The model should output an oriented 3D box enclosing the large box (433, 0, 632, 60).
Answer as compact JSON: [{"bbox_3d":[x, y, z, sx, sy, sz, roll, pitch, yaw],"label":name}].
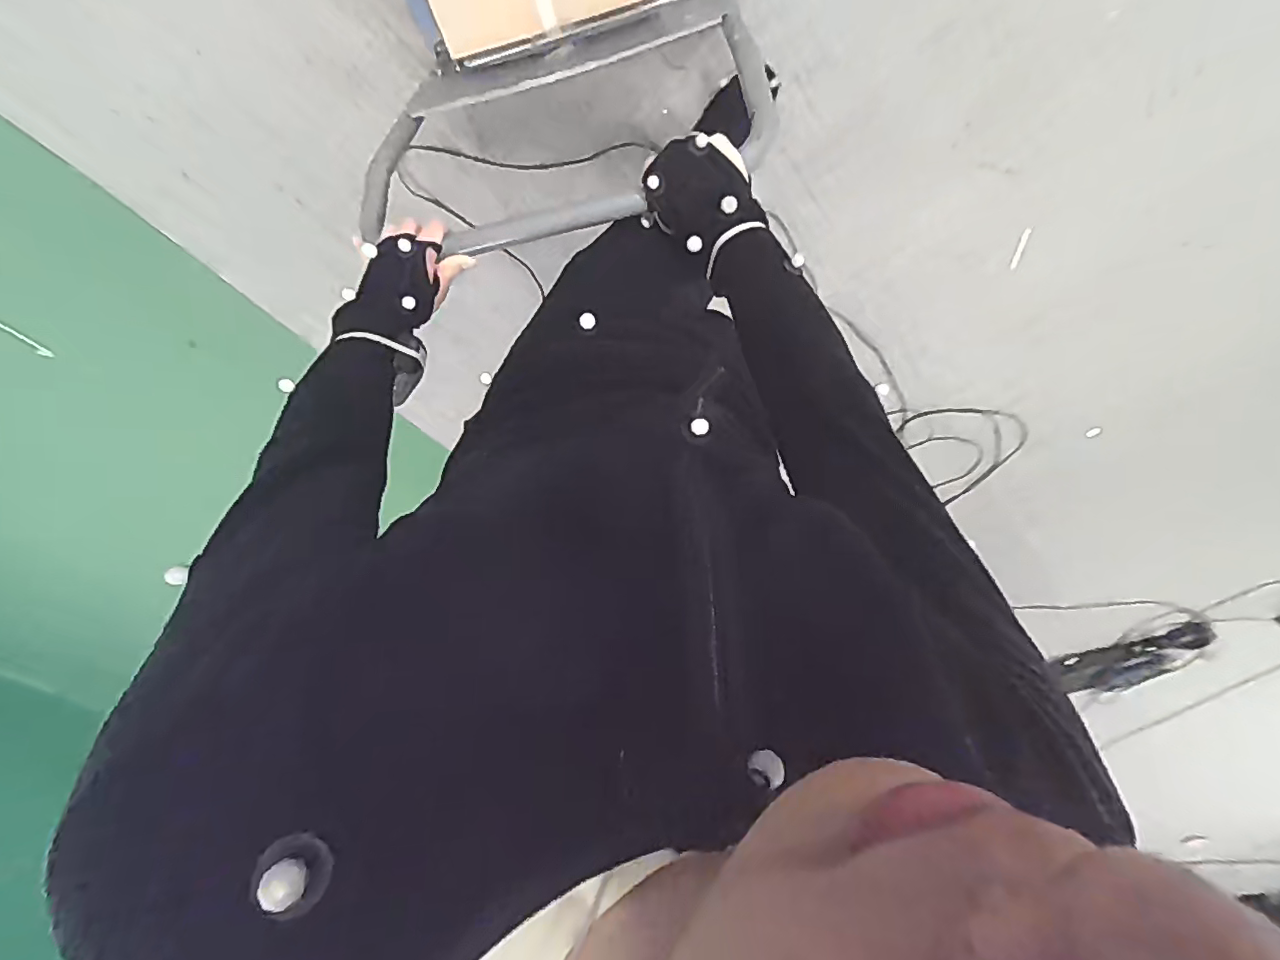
[{"bbox_3d":[-0.168,-0.881,0.727,0.320,0.320,0.408,-10,137,11],"label":"large box"}]
